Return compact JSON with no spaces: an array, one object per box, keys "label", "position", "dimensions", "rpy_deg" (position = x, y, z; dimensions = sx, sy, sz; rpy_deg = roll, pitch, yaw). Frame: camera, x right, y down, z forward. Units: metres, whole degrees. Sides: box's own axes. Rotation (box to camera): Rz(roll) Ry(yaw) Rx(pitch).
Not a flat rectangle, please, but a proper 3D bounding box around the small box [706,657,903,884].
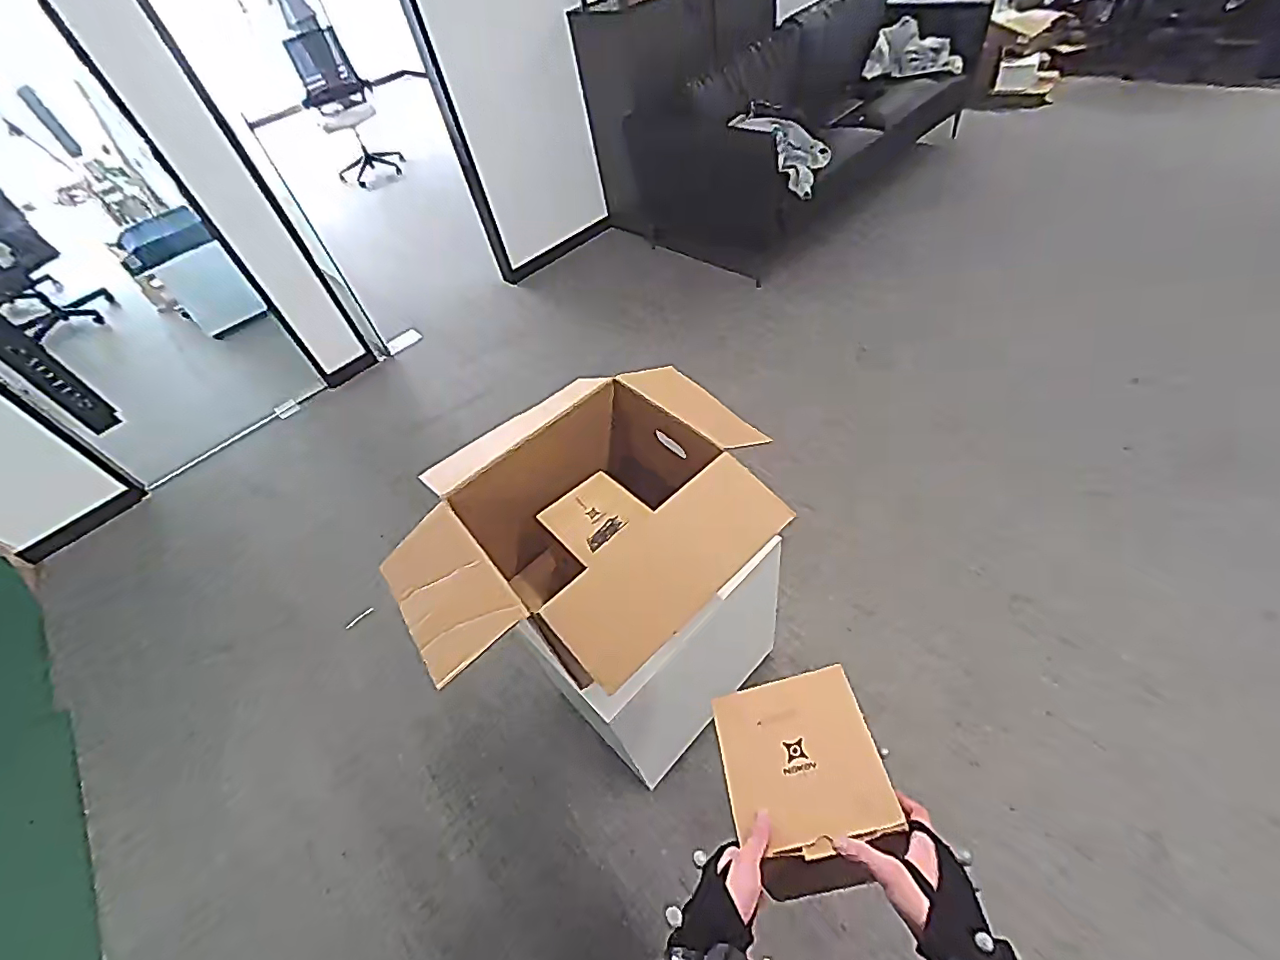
[{"label":"small box","position":[0.191,0.344,0.634],"dimensions":[0.168,0.176,0.179],"rpy_deg":[-19,37,8]}]
